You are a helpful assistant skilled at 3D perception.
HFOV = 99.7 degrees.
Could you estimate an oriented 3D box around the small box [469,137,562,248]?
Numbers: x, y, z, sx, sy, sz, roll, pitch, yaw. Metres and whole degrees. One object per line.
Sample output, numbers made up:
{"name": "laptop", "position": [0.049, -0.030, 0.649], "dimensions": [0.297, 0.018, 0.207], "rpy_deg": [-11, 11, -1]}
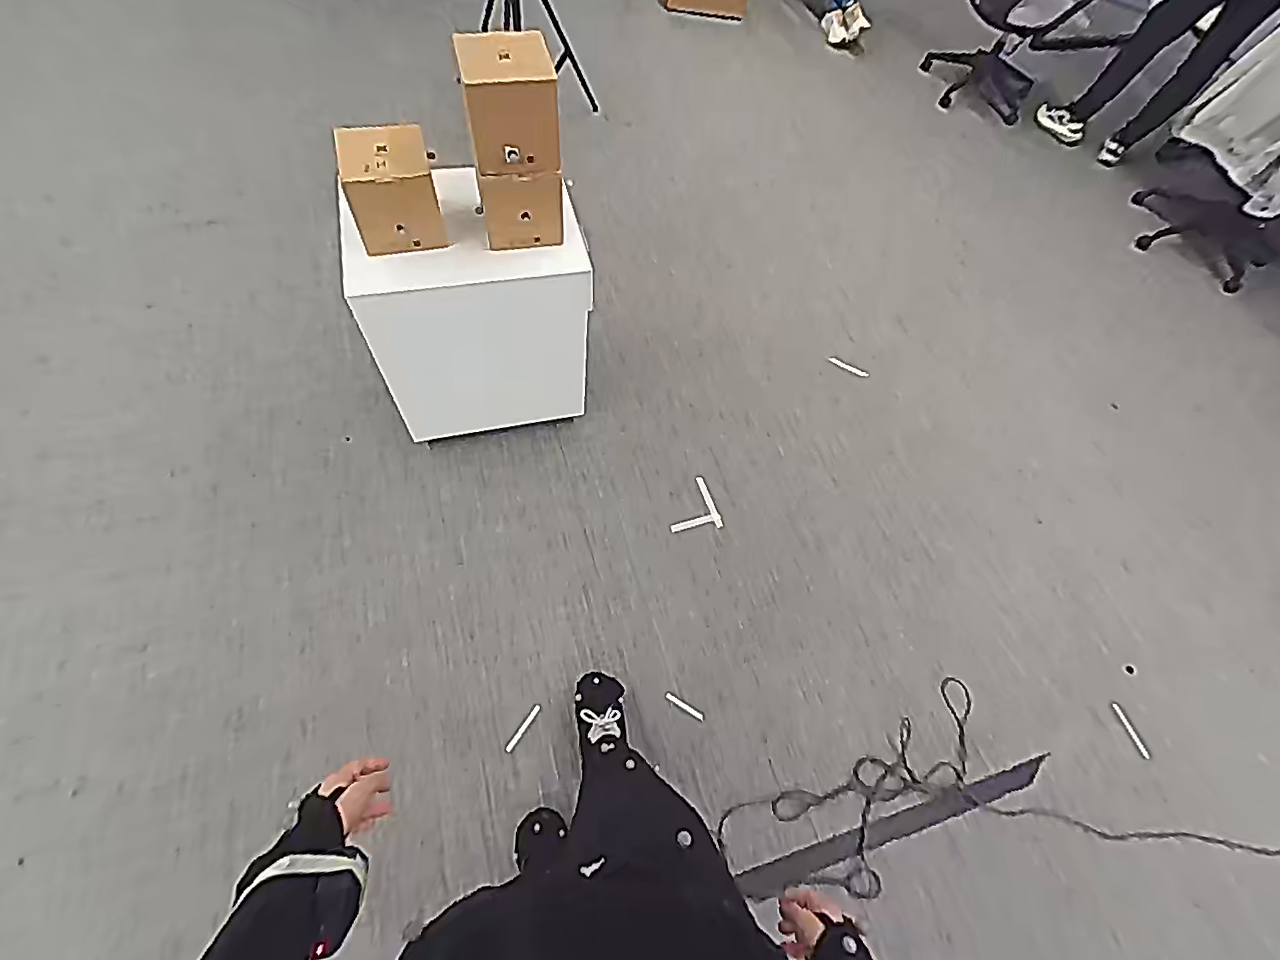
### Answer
{"name": "small box", "position": [-0.267, -0.628, 1.177], "dimensions": [0.168, 0.176, 0.179], "rpy_deg": [-11, 65, -13]}

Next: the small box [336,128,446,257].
{"name": "small box", "position": [-0.515, -0.598, 1.130], "dimensions": [0.168, 0.176, 0.179], "rpy_deg": [-14, 65, -14]}

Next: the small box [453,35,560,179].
{"name": "small box", "position": [-0.252, -0.715, 1.041], "dimensions": [0.168, 0.176, 0.179], "rpy_deg": [-12, 64, -11]}
